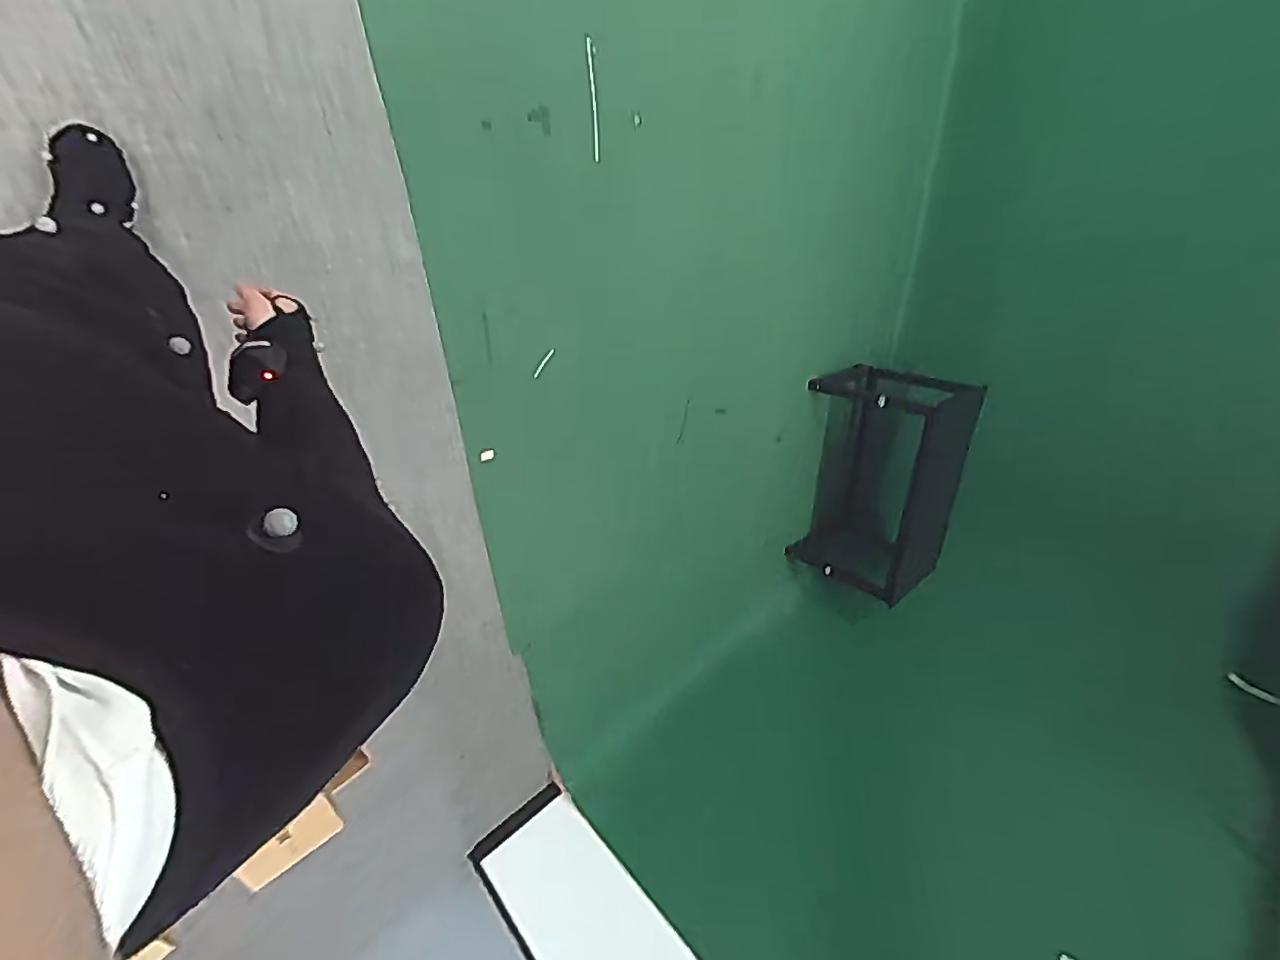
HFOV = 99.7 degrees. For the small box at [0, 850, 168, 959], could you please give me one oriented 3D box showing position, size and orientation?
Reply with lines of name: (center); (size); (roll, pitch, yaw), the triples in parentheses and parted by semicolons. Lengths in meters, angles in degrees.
small box: (-0.916, 0.748, 0.871); (0.168, 0.176, 0.179); (-34, 130, -29)
